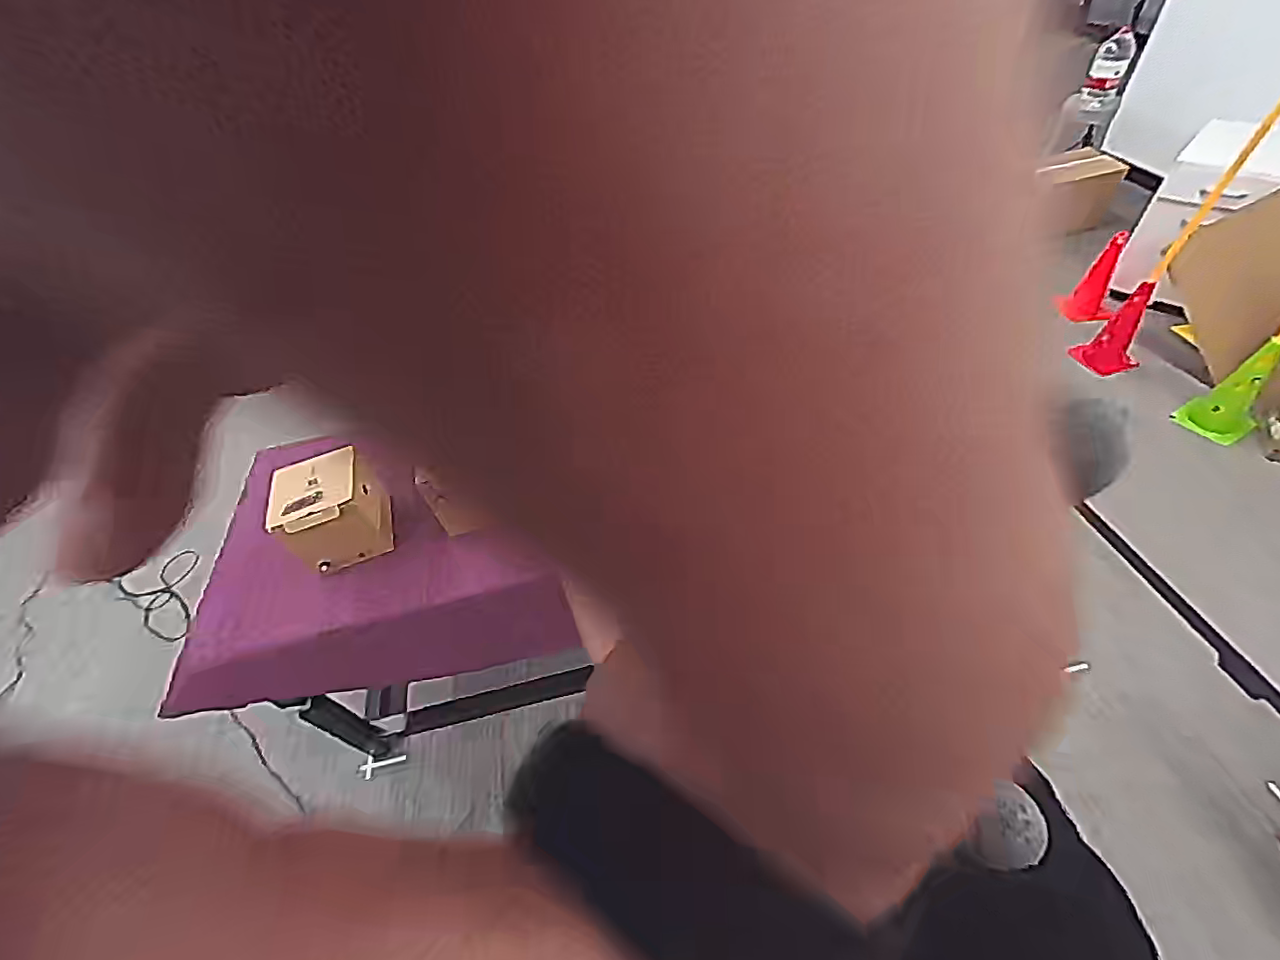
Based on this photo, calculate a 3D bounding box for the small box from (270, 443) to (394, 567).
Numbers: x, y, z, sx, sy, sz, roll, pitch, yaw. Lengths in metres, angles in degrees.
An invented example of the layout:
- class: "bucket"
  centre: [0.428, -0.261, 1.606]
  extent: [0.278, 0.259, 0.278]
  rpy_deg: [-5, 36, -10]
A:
- class: "small box"
  centre: [-0.634, 0.060, 1.131]
  extent: [0.168, 0.176, 0.179]
  rpy_deg: [-20, 48, -9]
